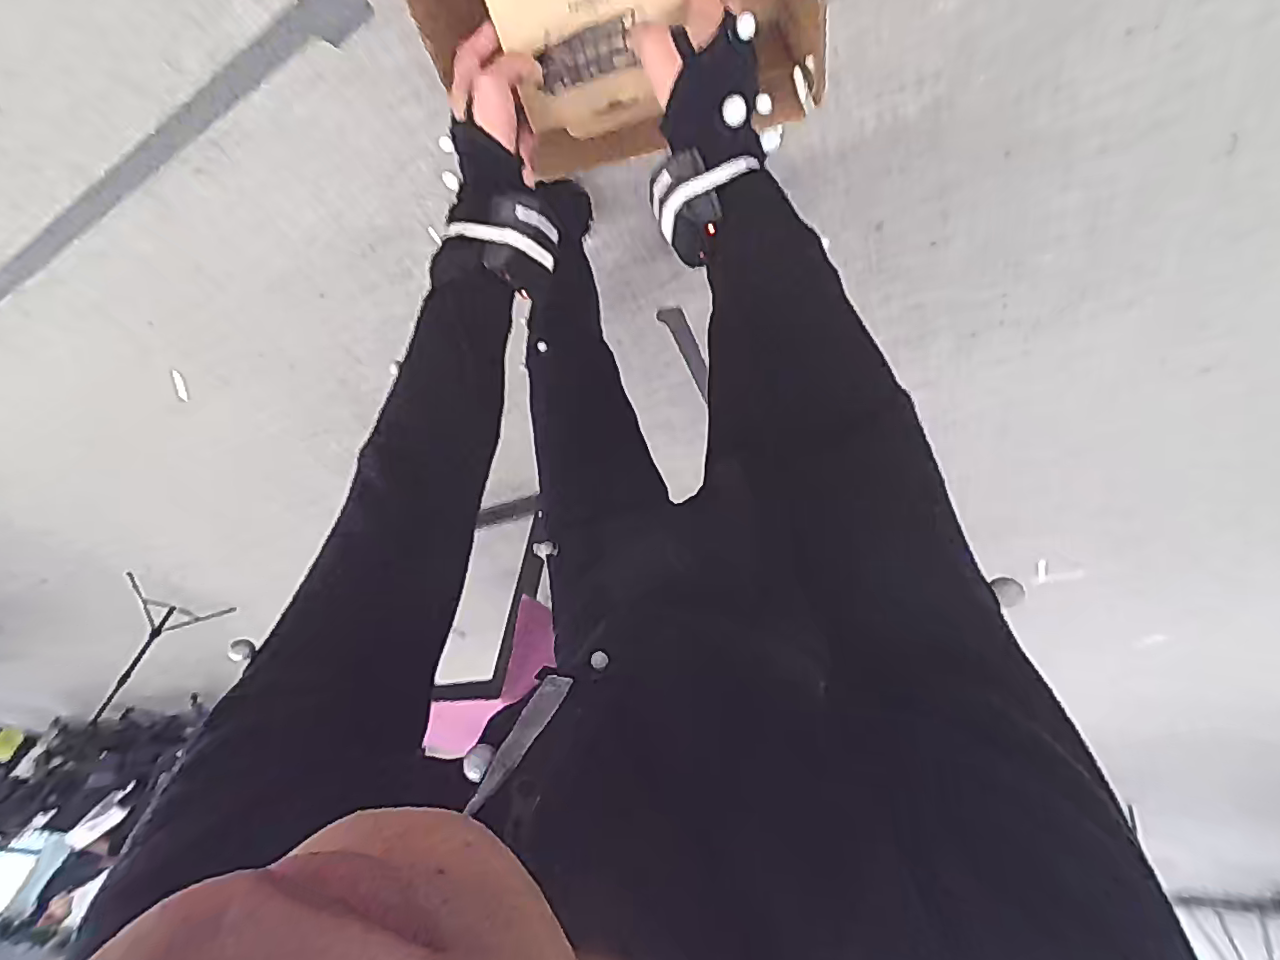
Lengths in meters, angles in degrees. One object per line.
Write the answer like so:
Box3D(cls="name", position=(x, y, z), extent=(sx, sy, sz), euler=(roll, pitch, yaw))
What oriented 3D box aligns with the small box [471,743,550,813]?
Box3D(cls="small box", position=(-0.407, 0.957, 1.735), extent=(0.179, 0.176, 0.168), euler=(-20, 133, 29))
